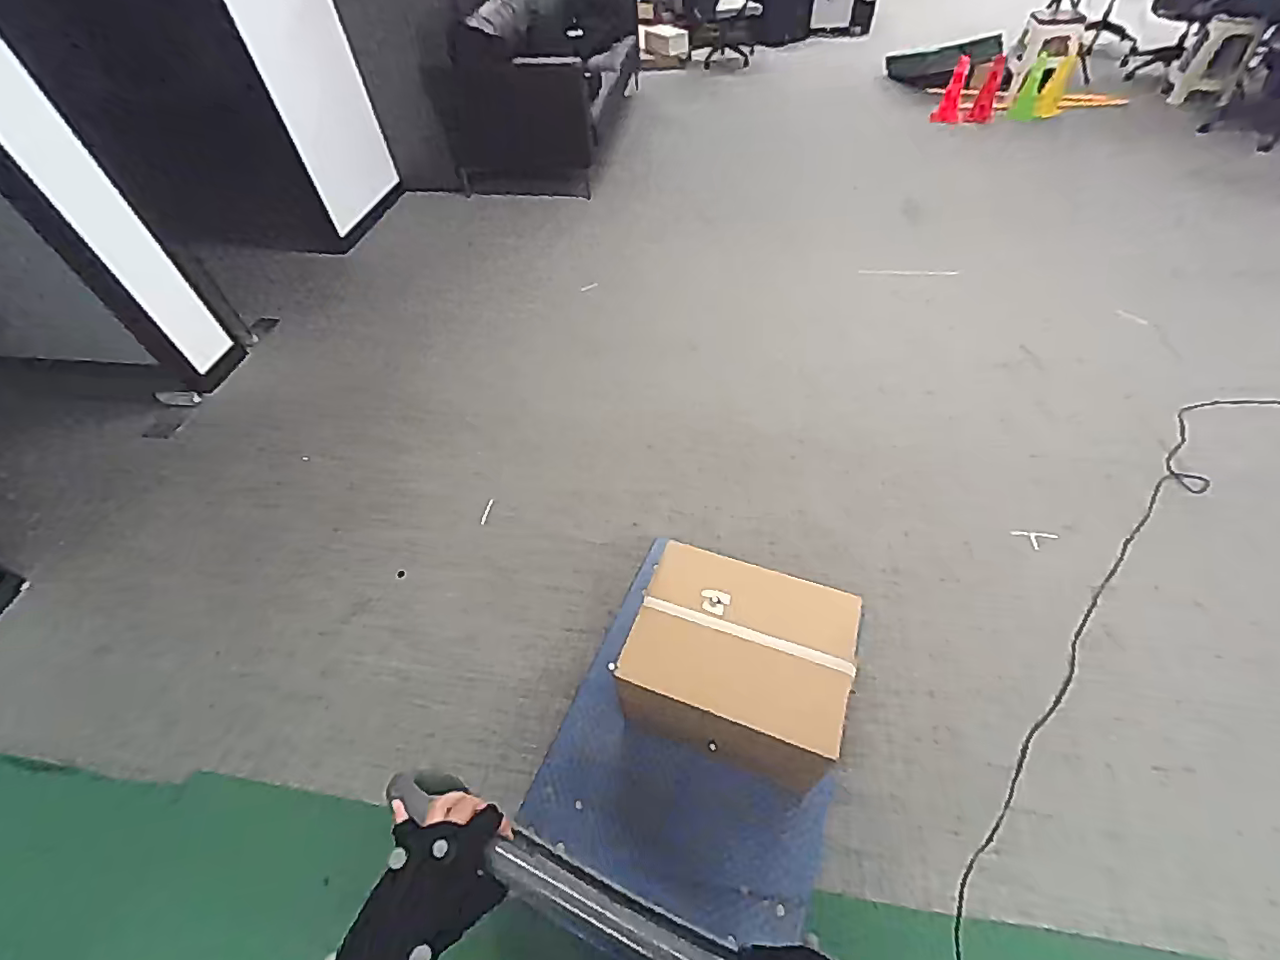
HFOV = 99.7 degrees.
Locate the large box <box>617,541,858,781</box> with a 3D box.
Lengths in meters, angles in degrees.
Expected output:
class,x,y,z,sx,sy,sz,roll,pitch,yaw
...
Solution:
class,x,y,z,sx,sy,sz,roll,pitch,yaw
large box,0.206,0.381,1.143,0.408,0.320,0.320,14,53,17
